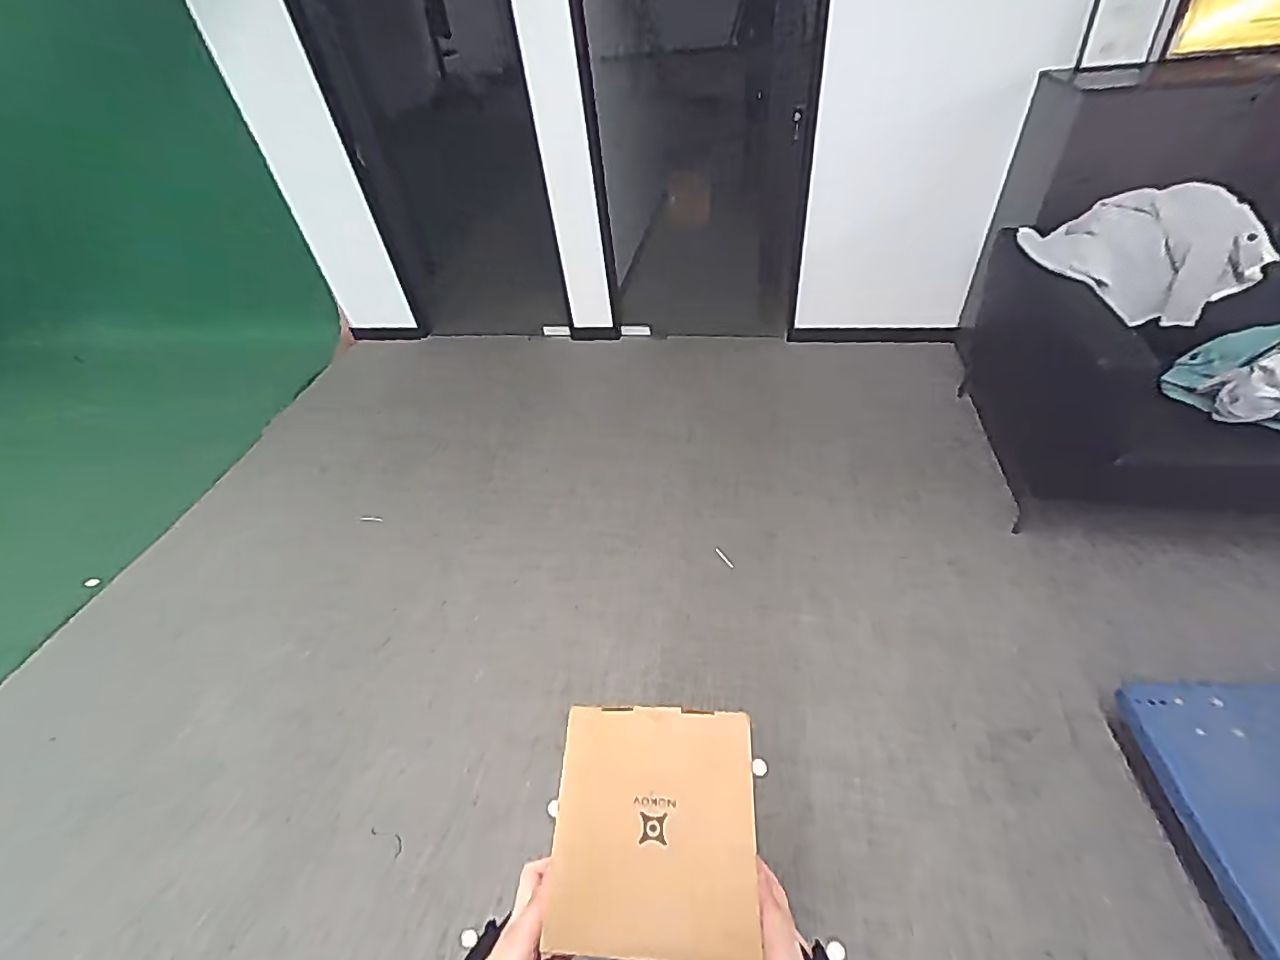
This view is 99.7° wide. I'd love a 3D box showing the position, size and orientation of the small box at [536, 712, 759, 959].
[{"bbox_3d":[0.018,0.328,0.495,0.168,0.176,0.179,-1,53,6],"label":"small box"}]
